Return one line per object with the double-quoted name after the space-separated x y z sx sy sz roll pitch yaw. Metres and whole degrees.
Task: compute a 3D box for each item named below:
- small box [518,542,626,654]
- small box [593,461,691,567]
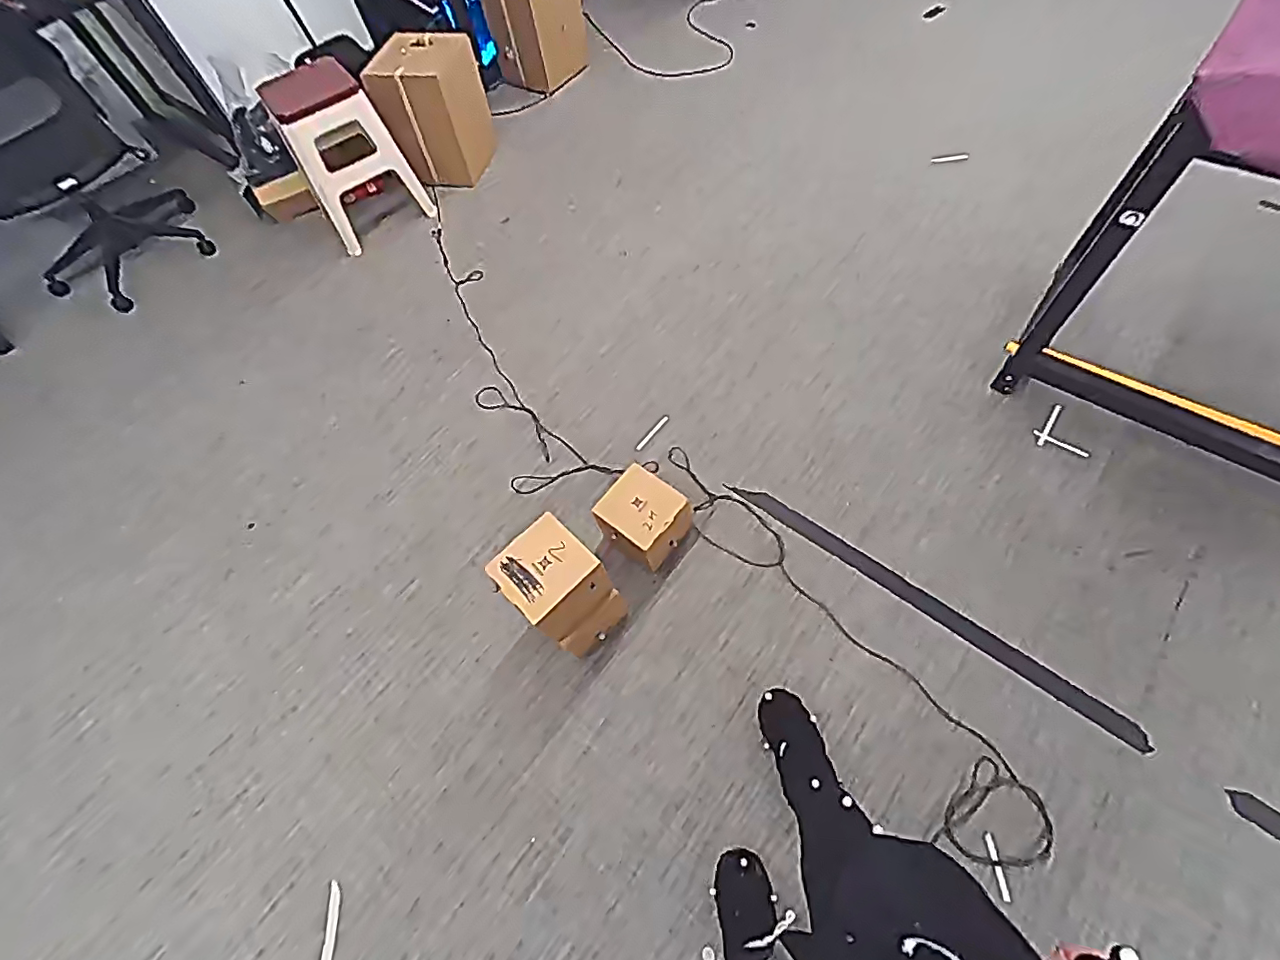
-0.153 0.283 1.269 0.168 0.176 0.179 -43 67 -15 "small box"
0.011 0.091 1.353 0.179 0.176 0.168 35 73 22 "small box"
